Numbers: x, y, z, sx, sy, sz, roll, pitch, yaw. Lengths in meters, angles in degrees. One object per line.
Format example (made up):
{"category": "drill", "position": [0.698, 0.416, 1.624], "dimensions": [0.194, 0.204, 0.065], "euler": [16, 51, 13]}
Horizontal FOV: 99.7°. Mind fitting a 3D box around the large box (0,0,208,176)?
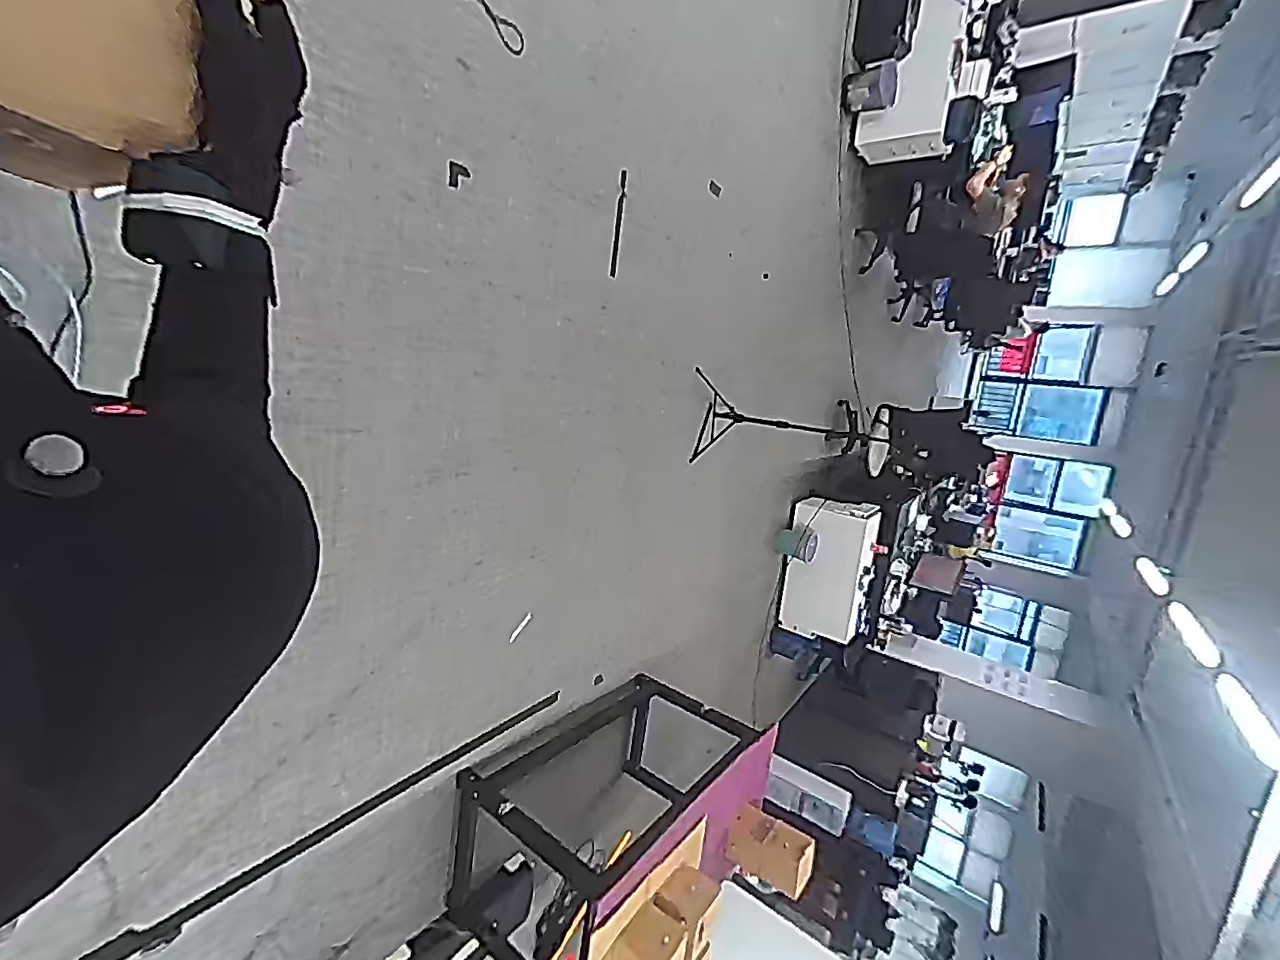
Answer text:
{"category": "large box", "position": [-0.530, -0.415, 0.287], "dimensions": [0.408, 0.320, 0.320], "euler": [1, 105, -60]}
